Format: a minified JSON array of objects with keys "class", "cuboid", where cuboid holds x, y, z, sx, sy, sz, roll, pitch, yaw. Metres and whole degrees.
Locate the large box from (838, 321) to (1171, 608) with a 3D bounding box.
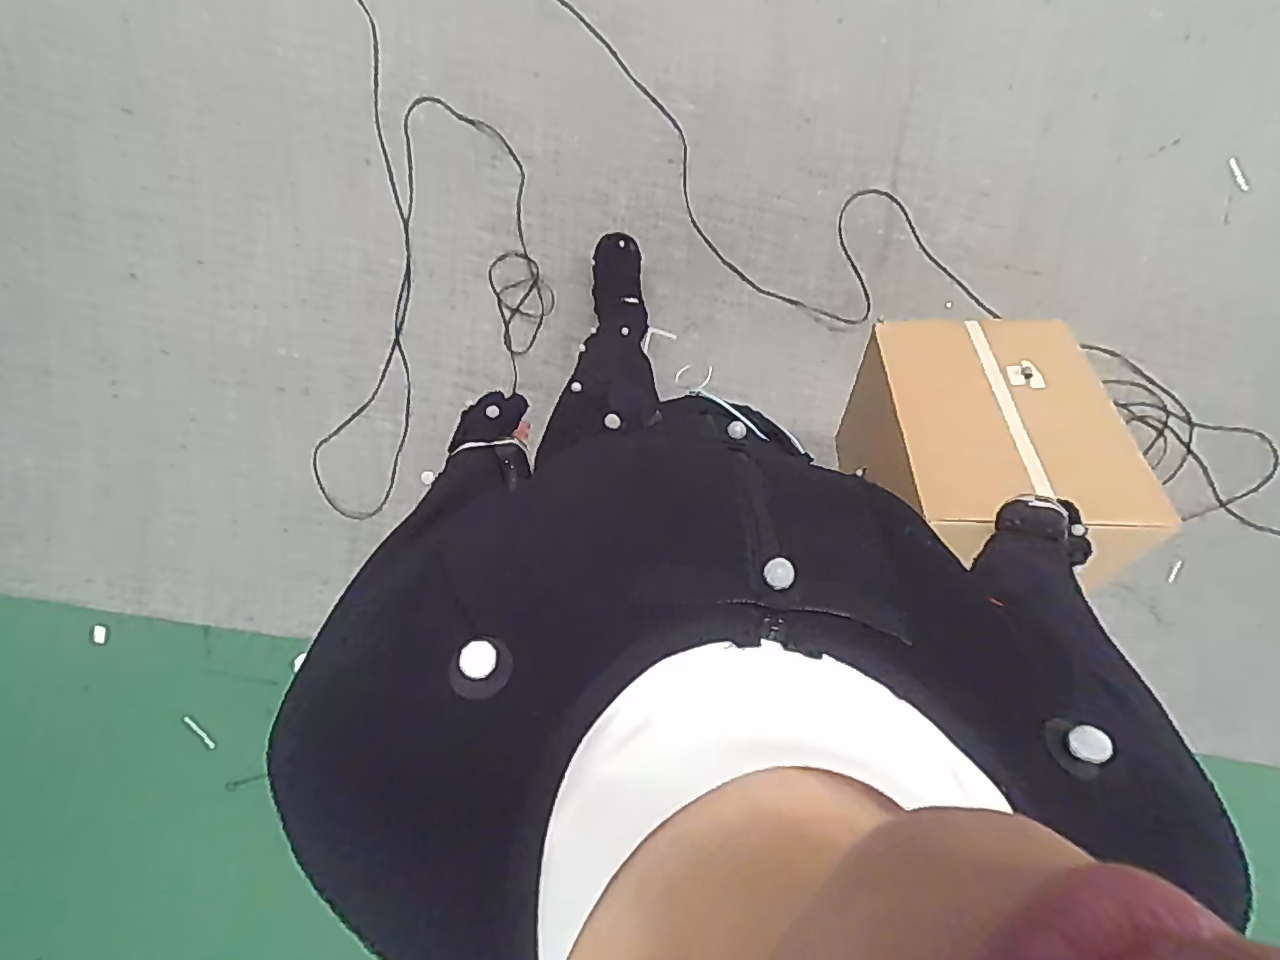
[{"class":"large box","cuboid":[0.557,-0.022,0.940,0.320,0.408,0.320,2,144,6]}]
